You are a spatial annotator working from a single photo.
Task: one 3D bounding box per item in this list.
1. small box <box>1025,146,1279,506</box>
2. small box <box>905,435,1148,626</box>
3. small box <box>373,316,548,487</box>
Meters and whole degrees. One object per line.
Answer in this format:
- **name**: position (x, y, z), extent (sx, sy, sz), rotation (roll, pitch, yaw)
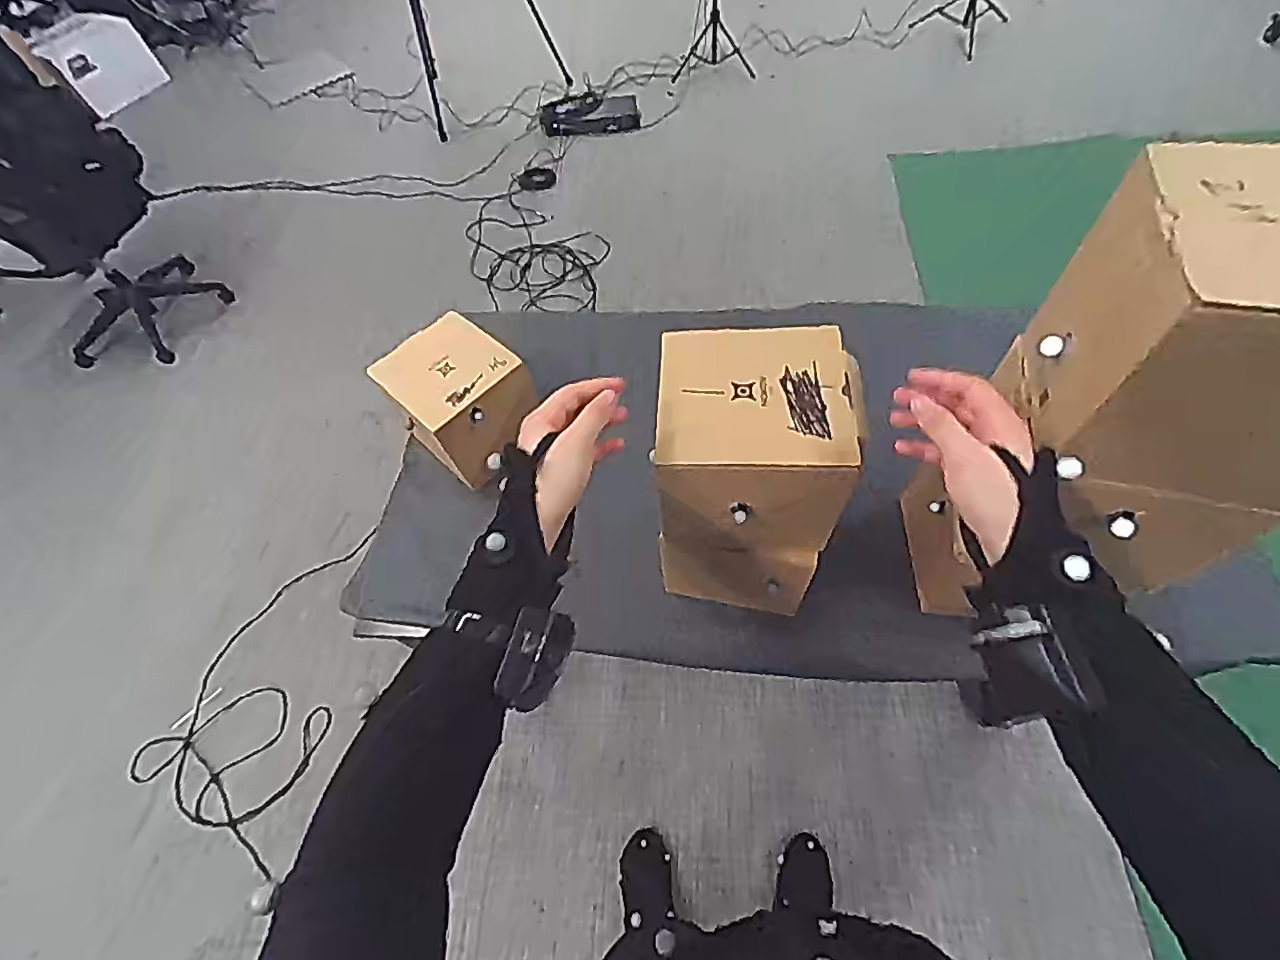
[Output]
- **small box**: position (0.407, -0.099, 0.376), extent (0.179, 0.176, 0.168), rotation (11, 60, 15)
- **small box**: position (0.441, 0.063, 0.659), extent (0.168, 0.176, 0.179), rotation (0, 59, 9)
- **small box**: position (-0.274, -0.119, 0.859), extent (0.179, 0.176, 0.168), rotation (38, 70, 25)
